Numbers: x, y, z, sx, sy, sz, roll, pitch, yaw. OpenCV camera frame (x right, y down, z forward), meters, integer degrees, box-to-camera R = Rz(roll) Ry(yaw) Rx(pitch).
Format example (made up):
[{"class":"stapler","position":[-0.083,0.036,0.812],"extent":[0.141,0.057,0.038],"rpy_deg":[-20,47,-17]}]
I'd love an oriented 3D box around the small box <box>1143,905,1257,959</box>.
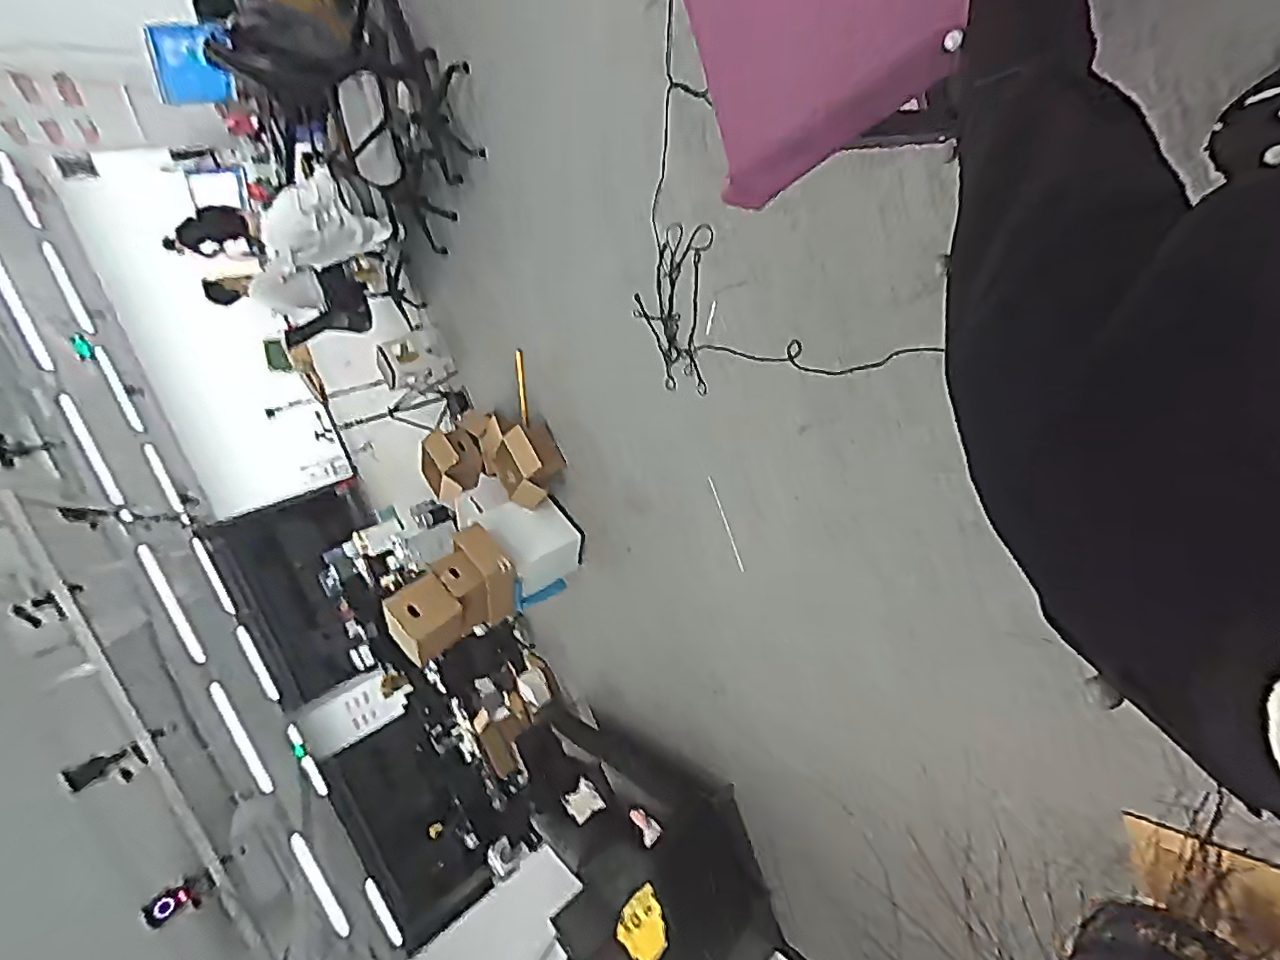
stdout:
[{"class":"small box","position":[1.328,1.184,1.288],"extent":[0.168,0.176,0.179],"rpy_deg":[23,130,48]}]
